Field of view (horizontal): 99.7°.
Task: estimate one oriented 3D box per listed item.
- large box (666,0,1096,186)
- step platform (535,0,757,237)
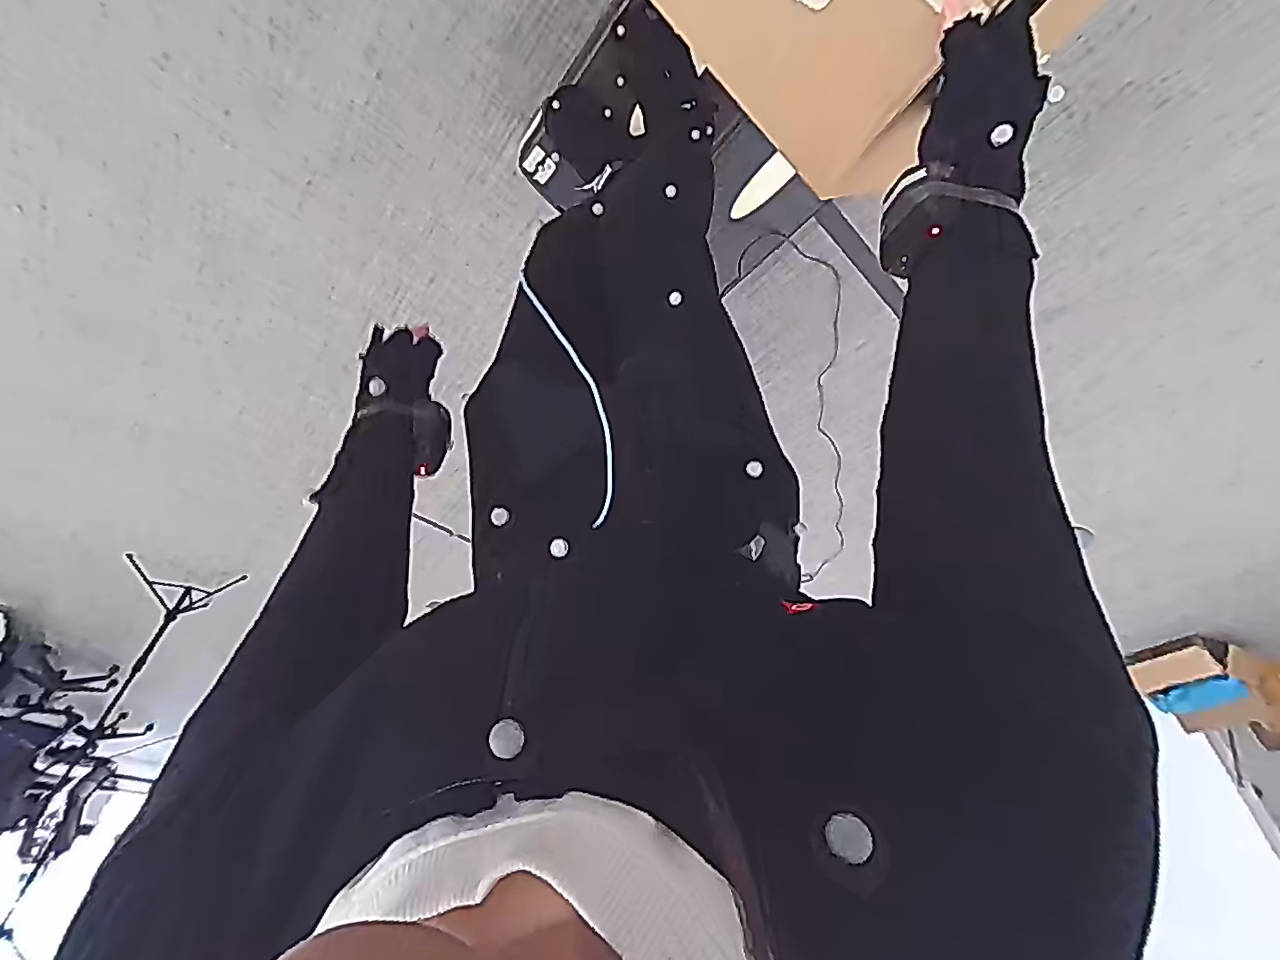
[{"bbox_3d":[0.233,-0.566,0.523,0.408,0.320,0.320,52,140,5],"label":"large box"},{"bbox_3d":[0.096,-0.789,0.969,0.286,0.204,0.684,30,132,-28],"label":"step platform"}]
